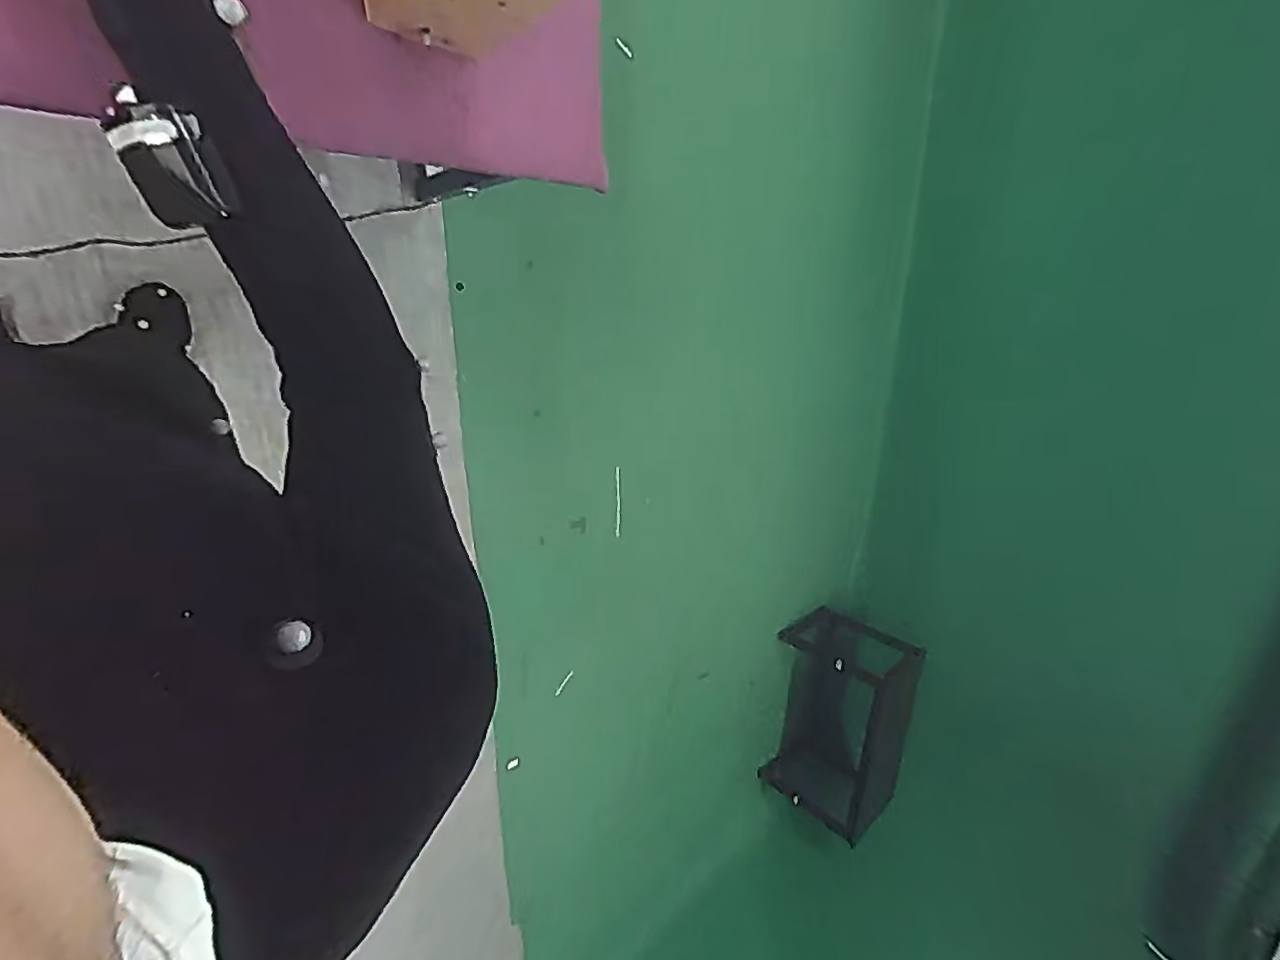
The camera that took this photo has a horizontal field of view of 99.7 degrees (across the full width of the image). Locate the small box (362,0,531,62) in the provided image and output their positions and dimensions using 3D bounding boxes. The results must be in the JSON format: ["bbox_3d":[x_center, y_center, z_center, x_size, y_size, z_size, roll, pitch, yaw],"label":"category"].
[{"bbox_3d":[-0.257,-0.687,0.696,0.168,0.176,0.179,-14,113,-39],"label":"small box"}]
